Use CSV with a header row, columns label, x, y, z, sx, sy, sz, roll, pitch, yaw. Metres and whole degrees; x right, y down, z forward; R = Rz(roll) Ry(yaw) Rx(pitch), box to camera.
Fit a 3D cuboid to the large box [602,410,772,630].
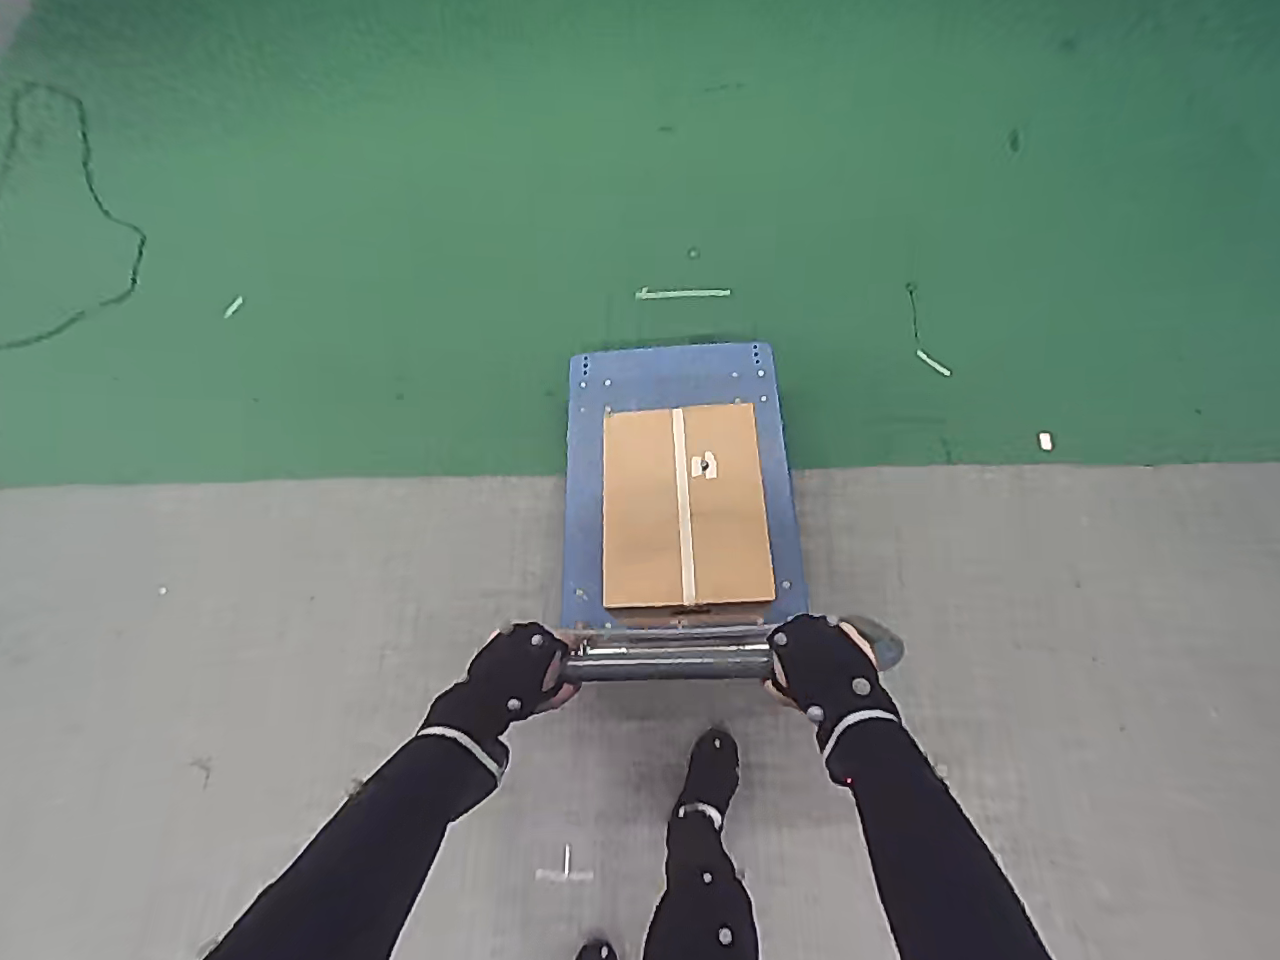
label,x,y,z,sx,sy,sz,roll,pitch,yaw
large box,0.096,0.104,1.202,0.320,0.320,0.408,-4,67,4
